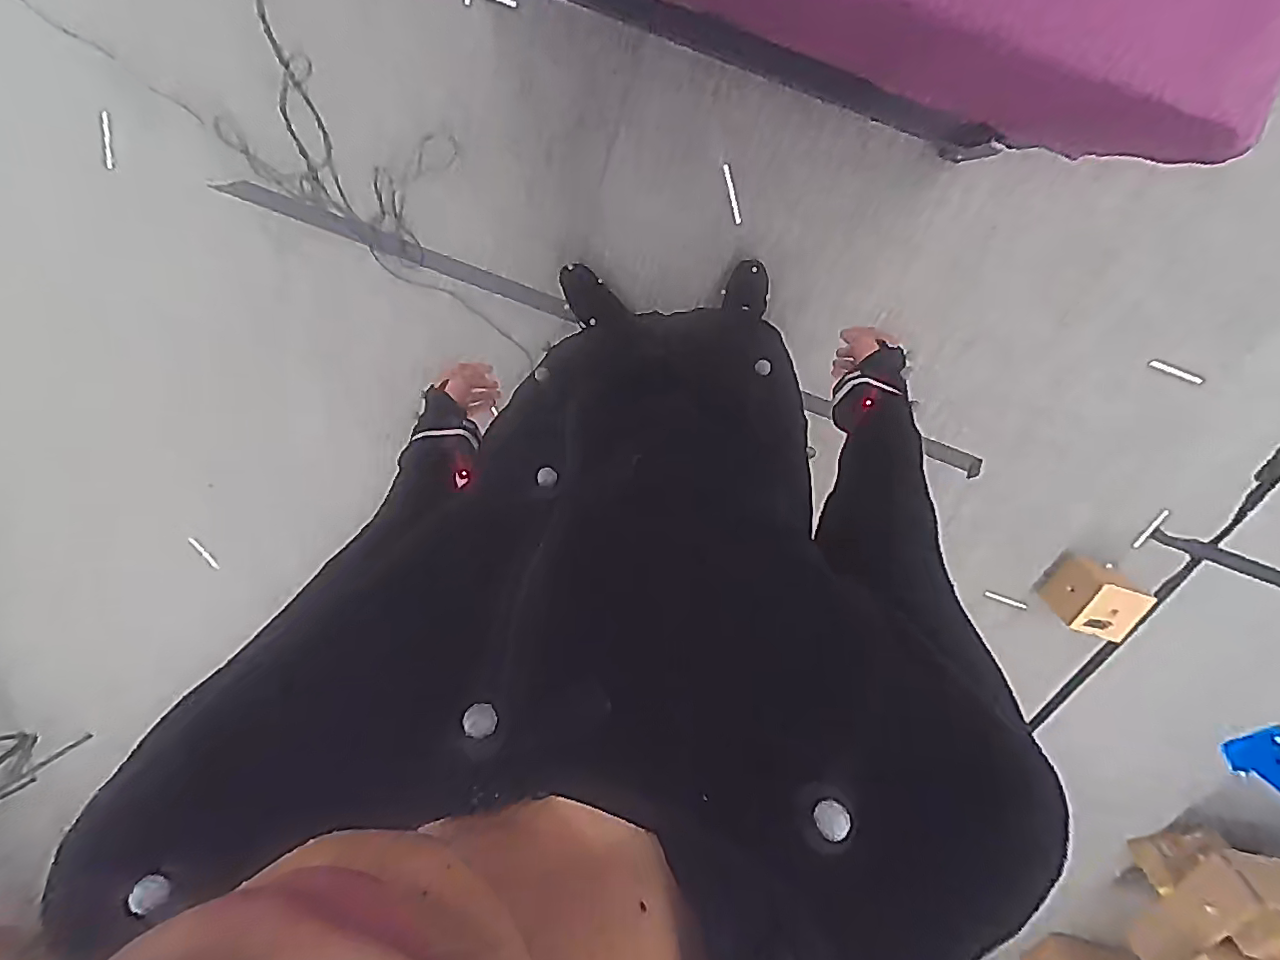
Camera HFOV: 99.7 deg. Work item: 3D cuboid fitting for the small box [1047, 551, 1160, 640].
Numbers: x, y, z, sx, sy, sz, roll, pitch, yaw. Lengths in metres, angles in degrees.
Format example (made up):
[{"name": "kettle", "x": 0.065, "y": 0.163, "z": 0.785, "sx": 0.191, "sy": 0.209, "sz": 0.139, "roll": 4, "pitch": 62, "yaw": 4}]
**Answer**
[{"name": "small box", "x": 1.398, "y": 0.350, "z": 1.651, "sx": 0.168, "sy": 0.176, "sz": 0.179, "roll": 17, "pitch": 117, "yaw": -2}]
